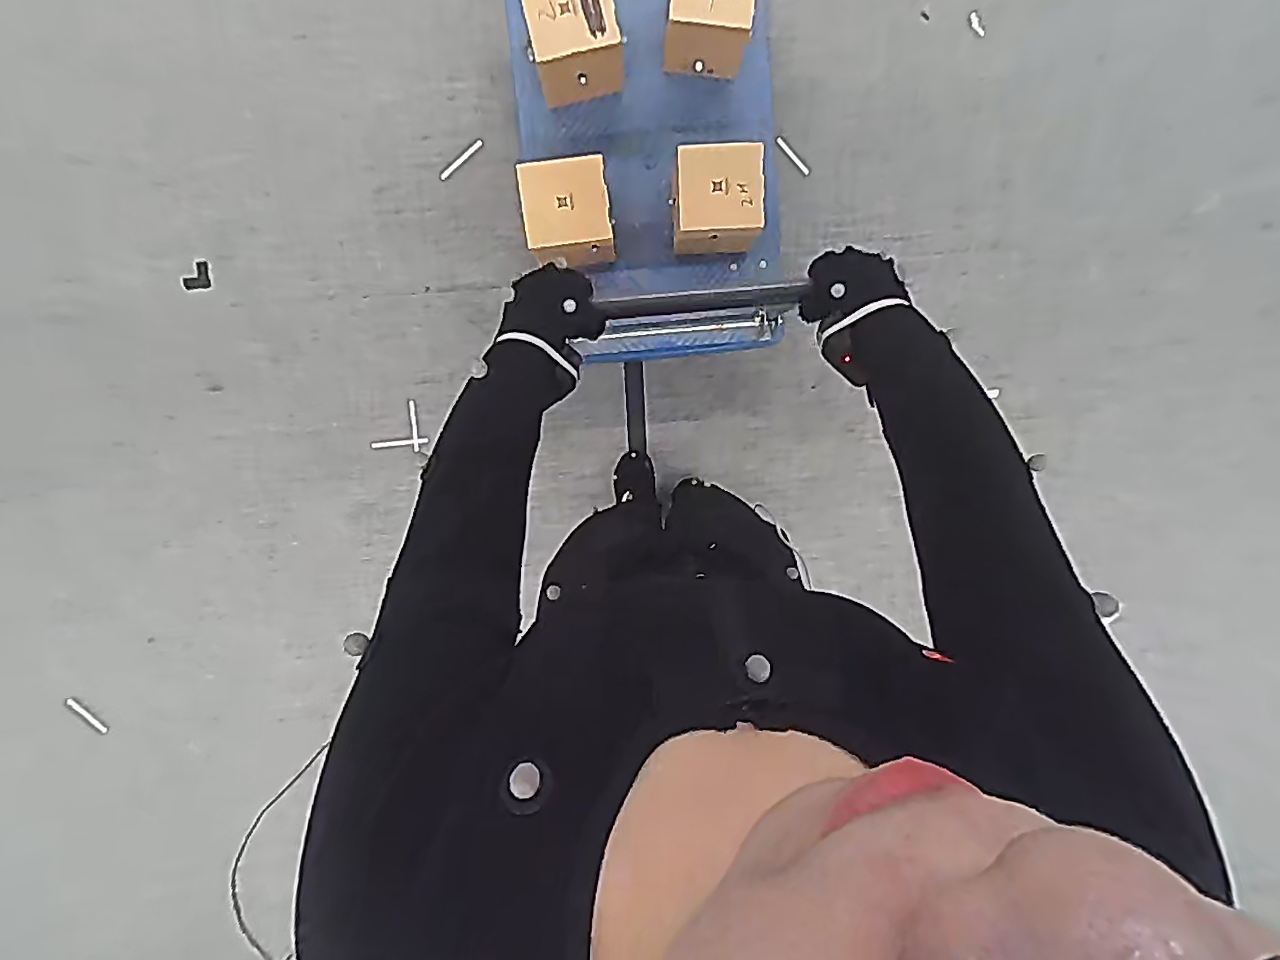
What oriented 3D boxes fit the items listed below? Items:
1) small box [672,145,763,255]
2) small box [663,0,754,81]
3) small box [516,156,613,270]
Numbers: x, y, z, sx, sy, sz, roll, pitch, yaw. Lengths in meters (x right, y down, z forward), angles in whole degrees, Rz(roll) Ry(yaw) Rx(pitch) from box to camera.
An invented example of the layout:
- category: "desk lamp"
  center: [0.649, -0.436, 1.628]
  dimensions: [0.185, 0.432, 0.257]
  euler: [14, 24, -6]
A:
- category: "small box"
  center: [0.160, -0.594, 1.165]
  dimensions: [0.179, 0.176, 0.168]
  euler: [-2, 97, -1]
- category: "small box"
  center: [0.140, -0.977, 1.119]
  dimensions: [0.168, 0.176, 0.179]
  euler: [5, 98, -2]
- category: "small box"
  center: [-0.155, -0.563, 1.162]
  dimensions: [0.179, 0.176, 0.168]
  euler: [-8, 97, -2]
